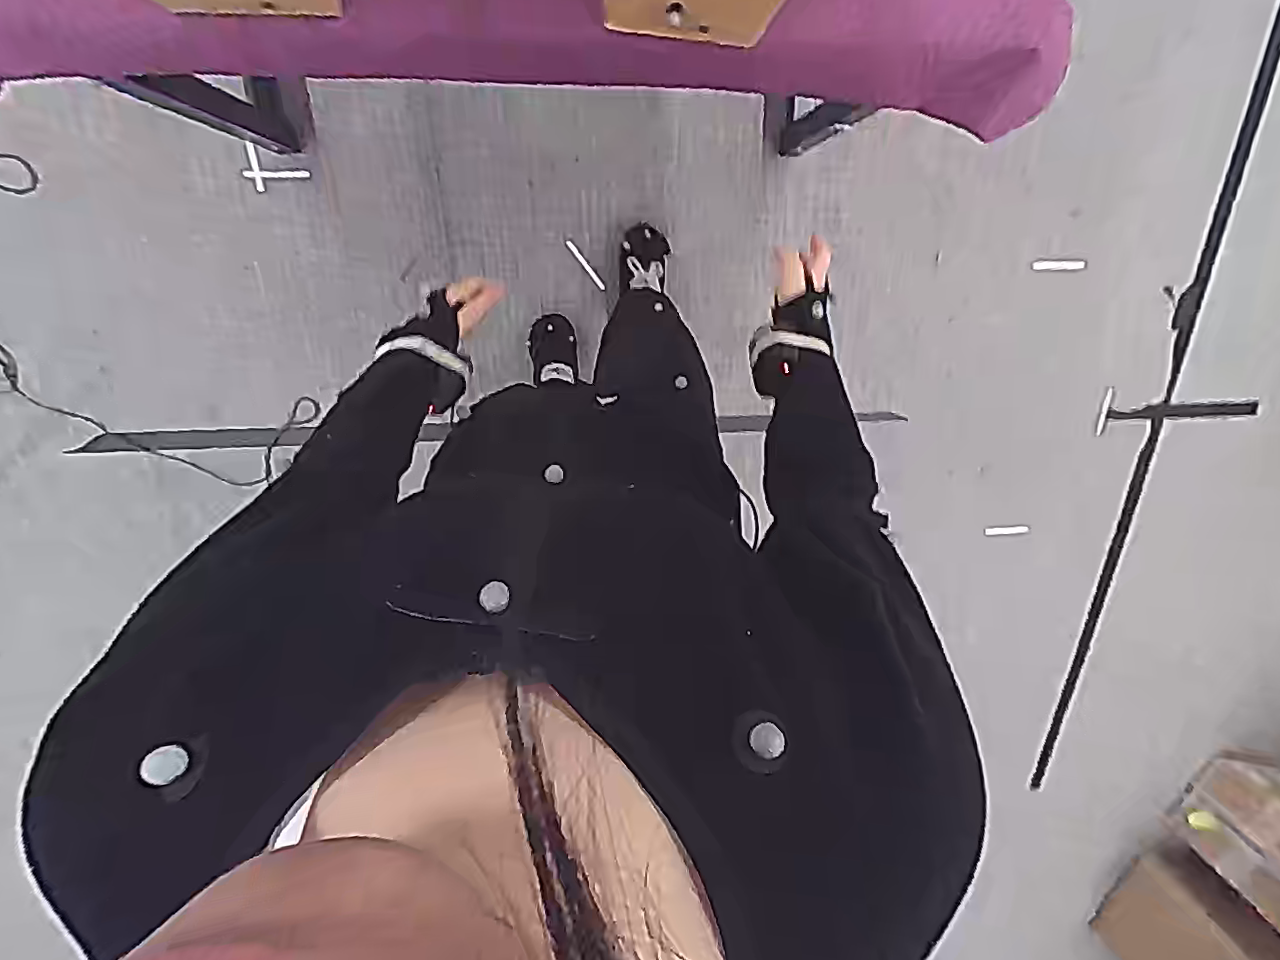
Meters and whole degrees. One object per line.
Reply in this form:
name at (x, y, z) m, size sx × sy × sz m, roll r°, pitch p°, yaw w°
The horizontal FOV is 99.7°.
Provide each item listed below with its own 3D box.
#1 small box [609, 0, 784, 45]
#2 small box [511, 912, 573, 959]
small box at (0.060, -0.534, 0.480) m, size 0.168 × 0.176 × 0.179 m, roll 1°, pitch 109°, yaw -7°
small box at (-0.297, 1.465, 1.653) m, size 0.179 × 0.176 × 0.168 m, roll -4°, pitch 109°, yaw -4°
